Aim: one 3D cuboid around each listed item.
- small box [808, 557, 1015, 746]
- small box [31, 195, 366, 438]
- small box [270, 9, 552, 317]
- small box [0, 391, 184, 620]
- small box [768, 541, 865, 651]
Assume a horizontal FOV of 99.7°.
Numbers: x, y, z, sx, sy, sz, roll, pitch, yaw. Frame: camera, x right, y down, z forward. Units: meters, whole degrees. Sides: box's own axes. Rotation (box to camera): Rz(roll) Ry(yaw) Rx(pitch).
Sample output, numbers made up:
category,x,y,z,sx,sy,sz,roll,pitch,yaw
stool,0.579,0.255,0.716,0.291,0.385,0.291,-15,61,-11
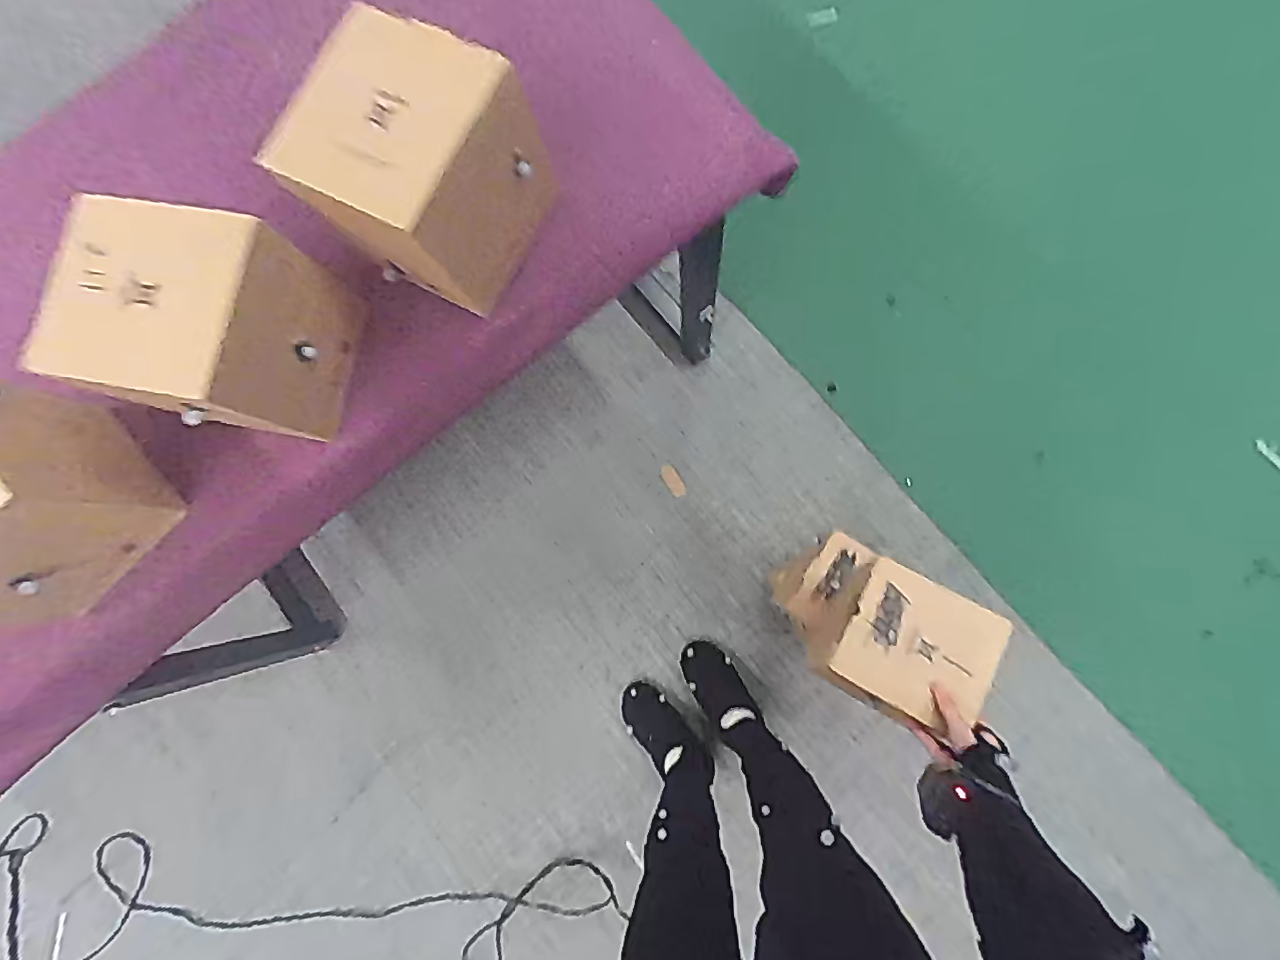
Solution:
category,x,y,z,sx,sy,sz,roll,pitch,yaw
small box,0.354,0.232,0.741,0.179,0.176,0.168,29,76,13
small box,-0.412,-0.146,0.539,0.179,0.176,0.168,11,82,6
small box,-0.207,-0.300,0.546,0.168,0.176,0.179,28,86,10
small box,-0.620,0.023,0.535,0.179,0.176,0.168,44,87,10
small box,0.391,0.244,1.162,0.179,0.176,0.168,-28,82,1
